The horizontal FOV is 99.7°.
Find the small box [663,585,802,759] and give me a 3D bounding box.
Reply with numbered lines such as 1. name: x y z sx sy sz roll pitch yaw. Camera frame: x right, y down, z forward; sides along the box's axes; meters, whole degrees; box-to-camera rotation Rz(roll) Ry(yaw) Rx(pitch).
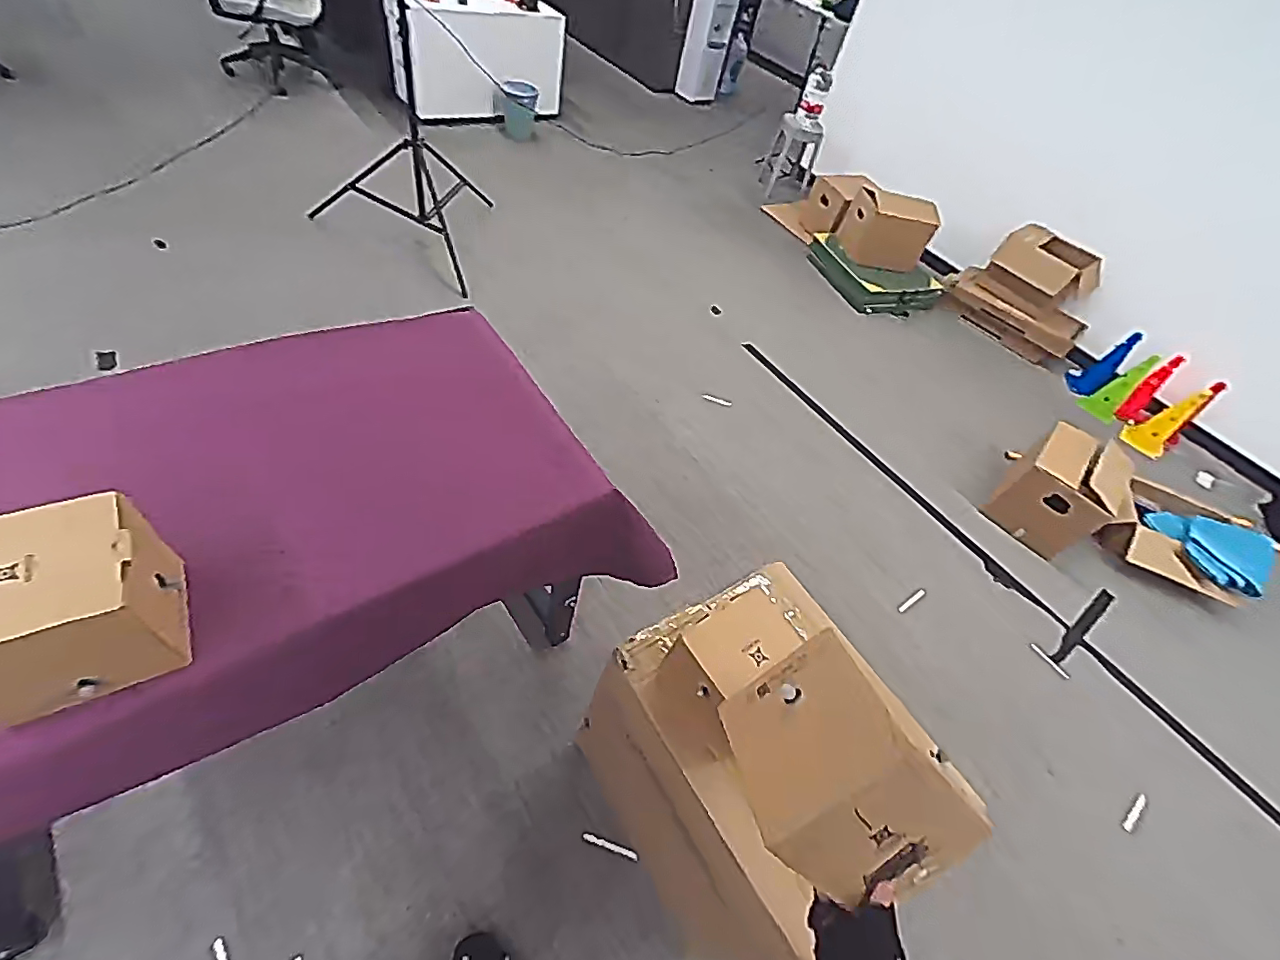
1. small box: 0.158 0.305 0.853 0.168 0.176 0.179 -25 63 -28

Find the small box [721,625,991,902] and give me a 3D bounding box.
1. small box: 0.215 0.291 0.576 0.179 0.168 0.176 45 9 -23

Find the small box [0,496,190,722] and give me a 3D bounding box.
1. small box: -0.660 0.149 0.630 0.179 0.176 0.168 -17 57 -27
